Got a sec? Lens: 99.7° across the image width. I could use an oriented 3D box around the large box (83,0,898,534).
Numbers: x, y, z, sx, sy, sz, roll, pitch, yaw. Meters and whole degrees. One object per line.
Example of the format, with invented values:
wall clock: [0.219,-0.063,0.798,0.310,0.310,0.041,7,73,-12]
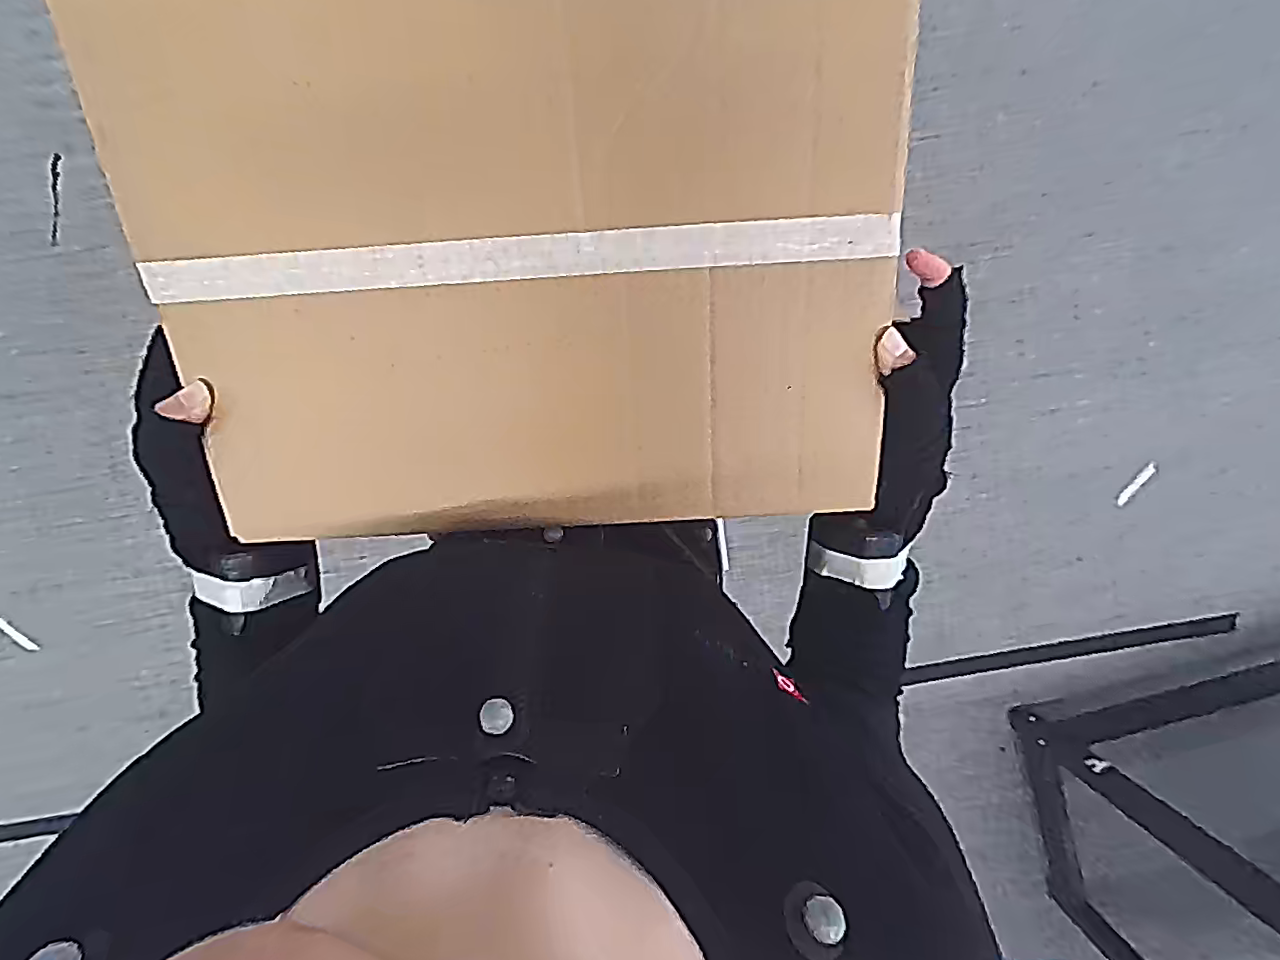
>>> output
large box: [-0.066,-0.170,0.442,0.408,0.320,0.320,-3,110,1]
